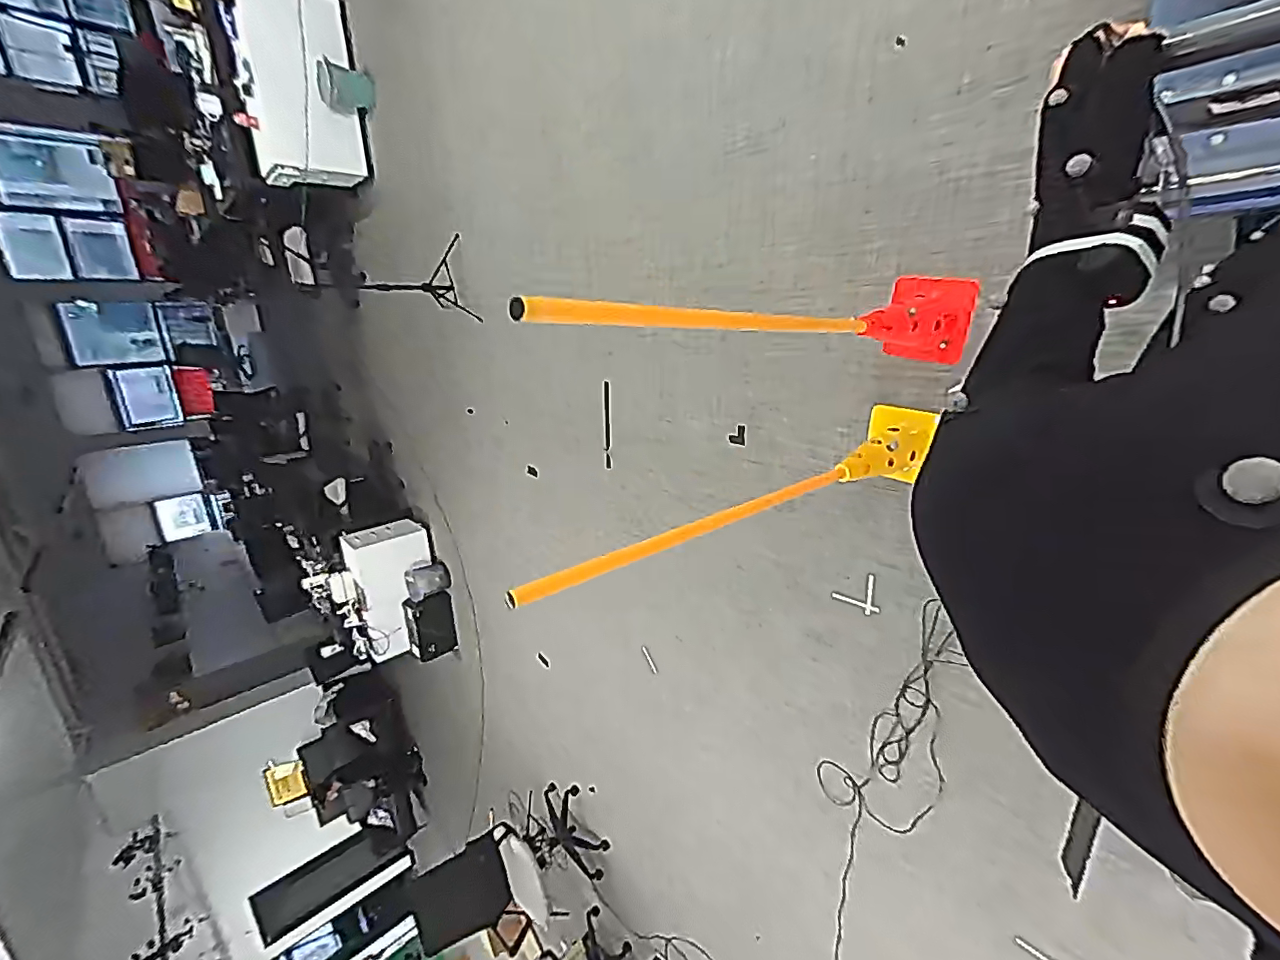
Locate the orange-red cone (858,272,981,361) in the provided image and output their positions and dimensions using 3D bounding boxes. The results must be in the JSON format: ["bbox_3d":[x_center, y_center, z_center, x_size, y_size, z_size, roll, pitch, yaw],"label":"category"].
[{"bbox_3d":[0.598,-0.373,1.240,0.198,0.360,0.199,26,120,41],"label":"orange-red cone"}]
